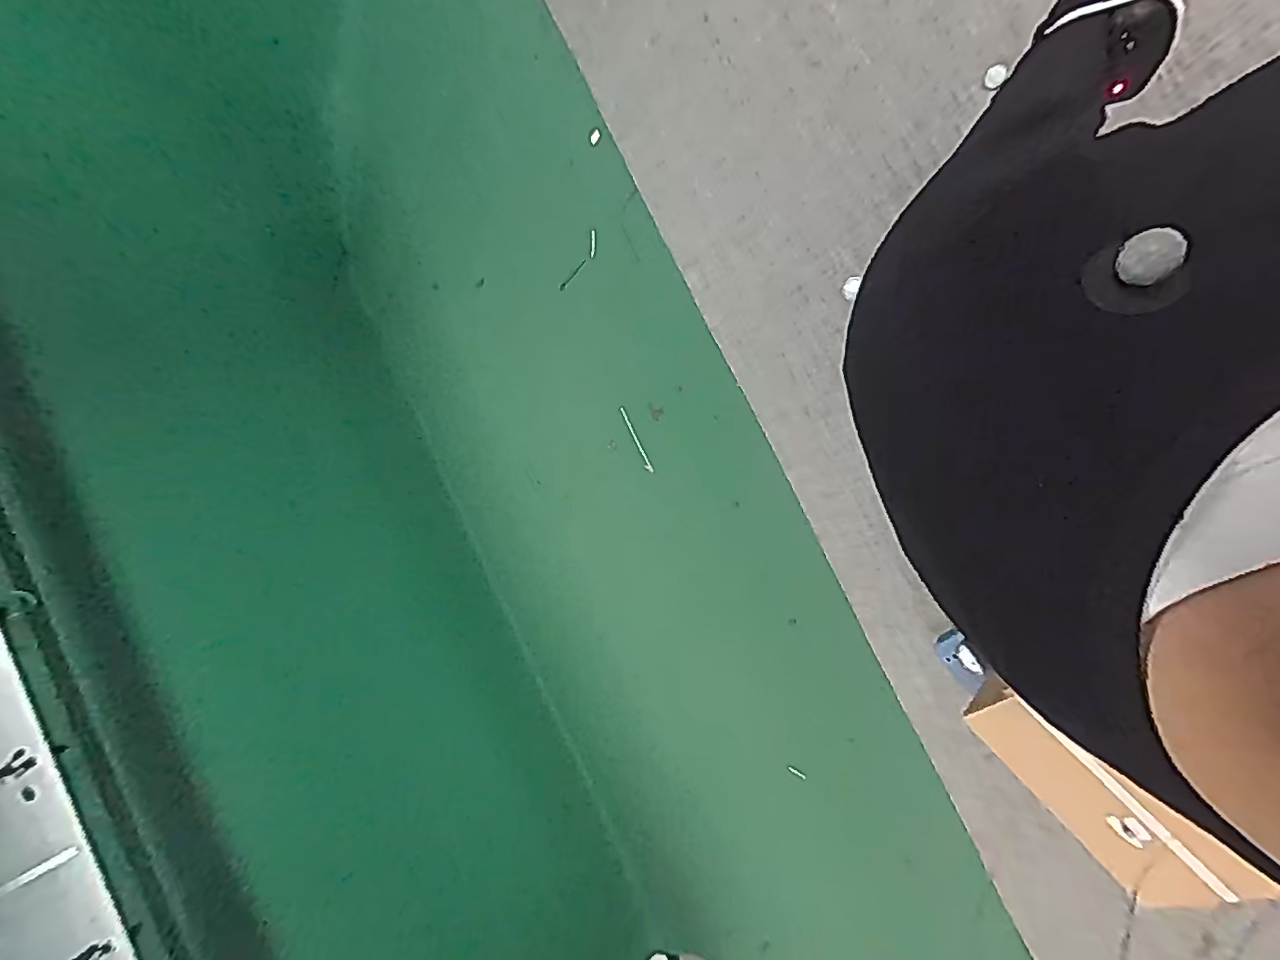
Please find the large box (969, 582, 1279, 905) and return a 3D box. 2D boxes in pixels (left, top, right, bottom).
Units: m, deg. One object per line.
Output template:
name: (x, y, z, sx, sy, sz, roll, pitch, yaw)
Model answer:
large box: (0.950, 0.479, 1.028, 0.408, 0.320, 0.320, 47, 139, 21)
